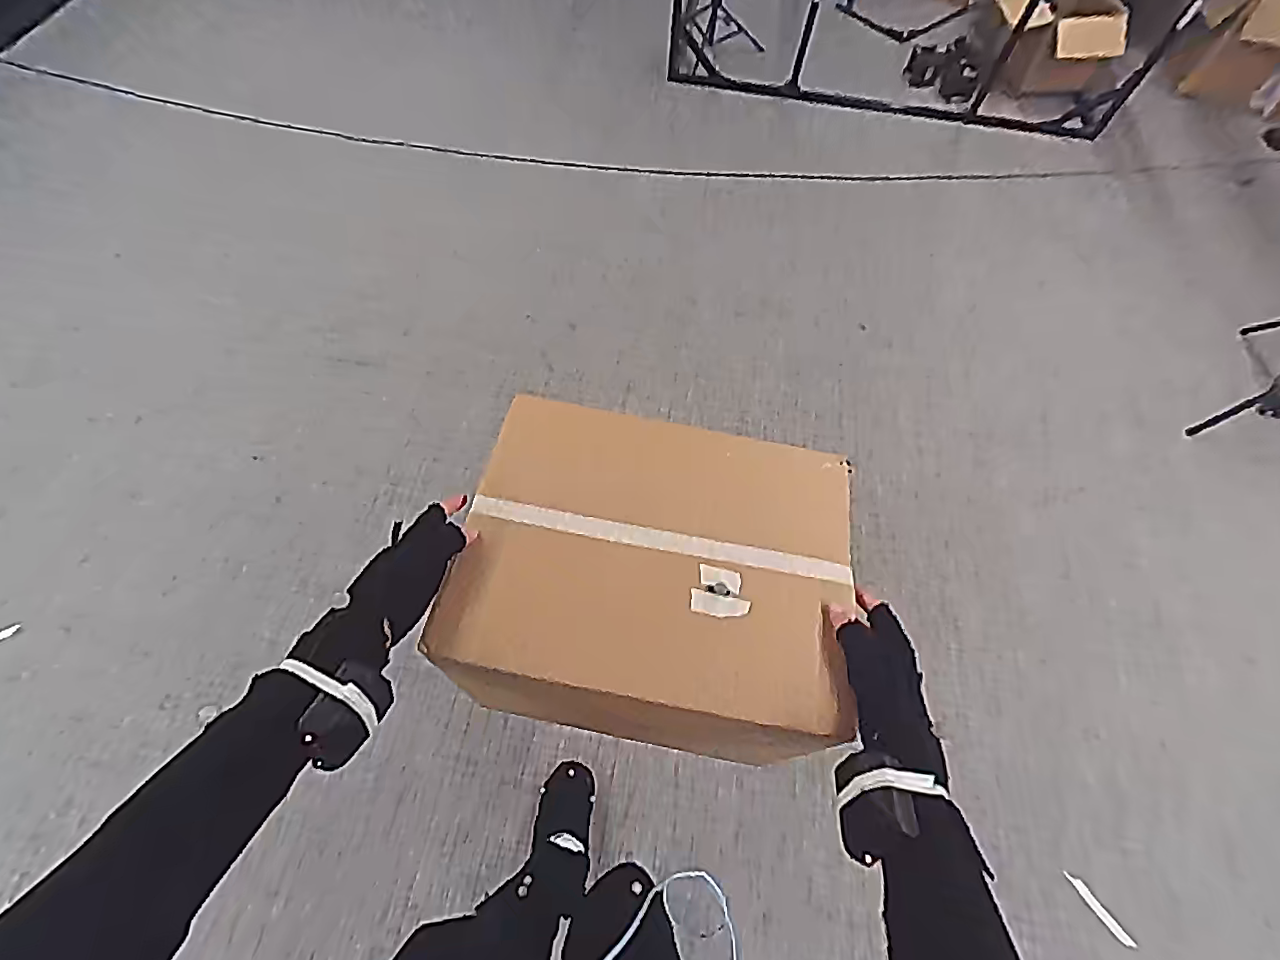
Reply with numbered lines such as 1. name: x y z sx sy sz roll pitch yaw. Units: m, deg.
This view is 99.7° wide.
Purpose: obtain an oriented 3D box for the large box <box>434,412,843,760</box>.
1. large box: 0.006 0.154 0.714 0.408 0.320 0.320 12 59 1
